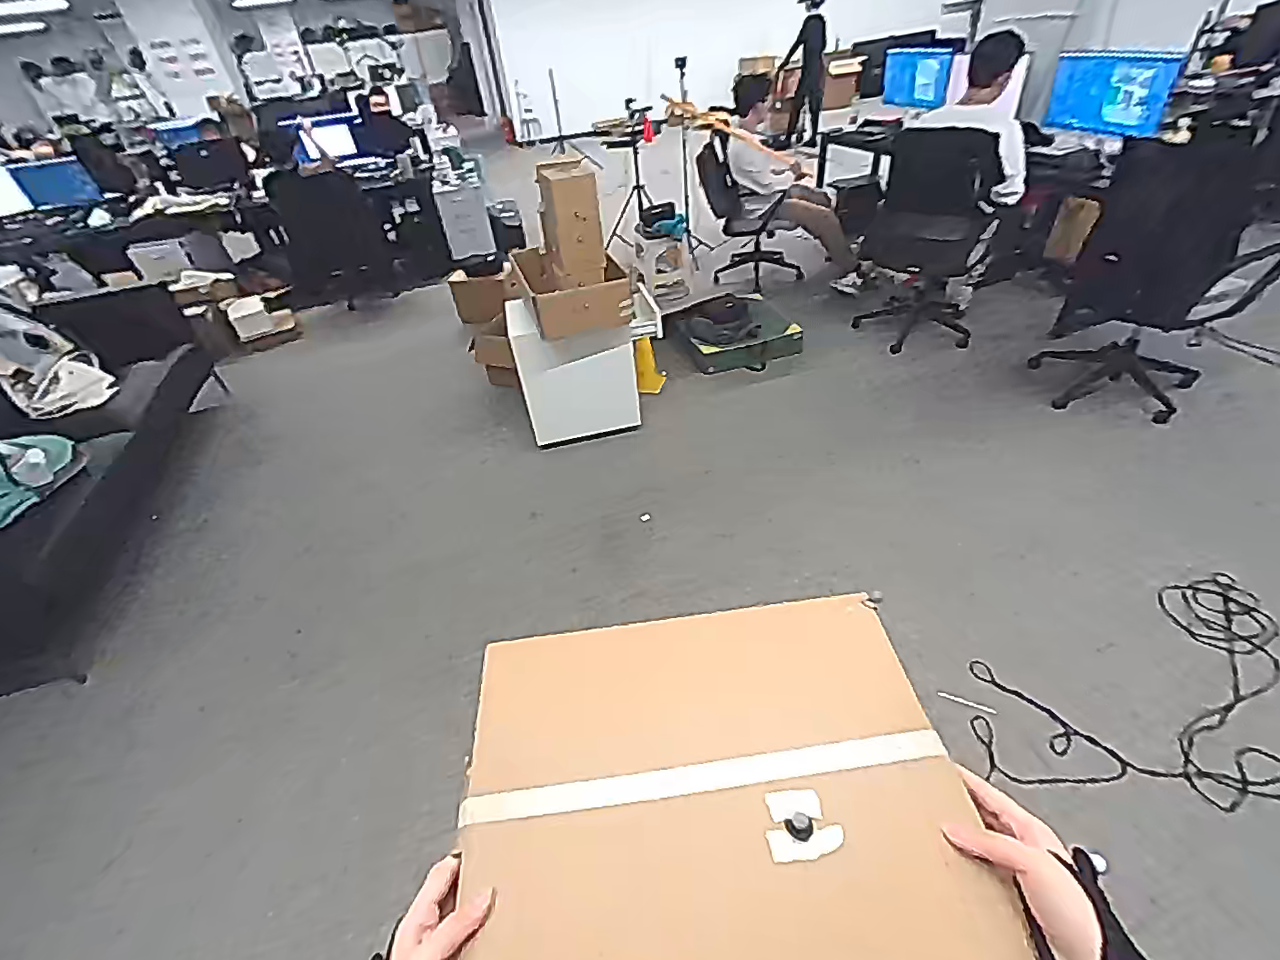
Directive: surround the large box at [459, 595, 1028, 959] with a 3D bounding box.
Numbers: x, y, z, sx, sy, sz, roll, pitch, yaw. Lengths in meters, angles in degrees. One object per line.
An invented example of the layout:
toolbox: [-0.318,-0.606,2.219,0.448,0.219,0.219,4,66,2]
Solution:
large box: [0.063,0.362,0.567,0.408,0.320,0.320,-7,43,-2]
